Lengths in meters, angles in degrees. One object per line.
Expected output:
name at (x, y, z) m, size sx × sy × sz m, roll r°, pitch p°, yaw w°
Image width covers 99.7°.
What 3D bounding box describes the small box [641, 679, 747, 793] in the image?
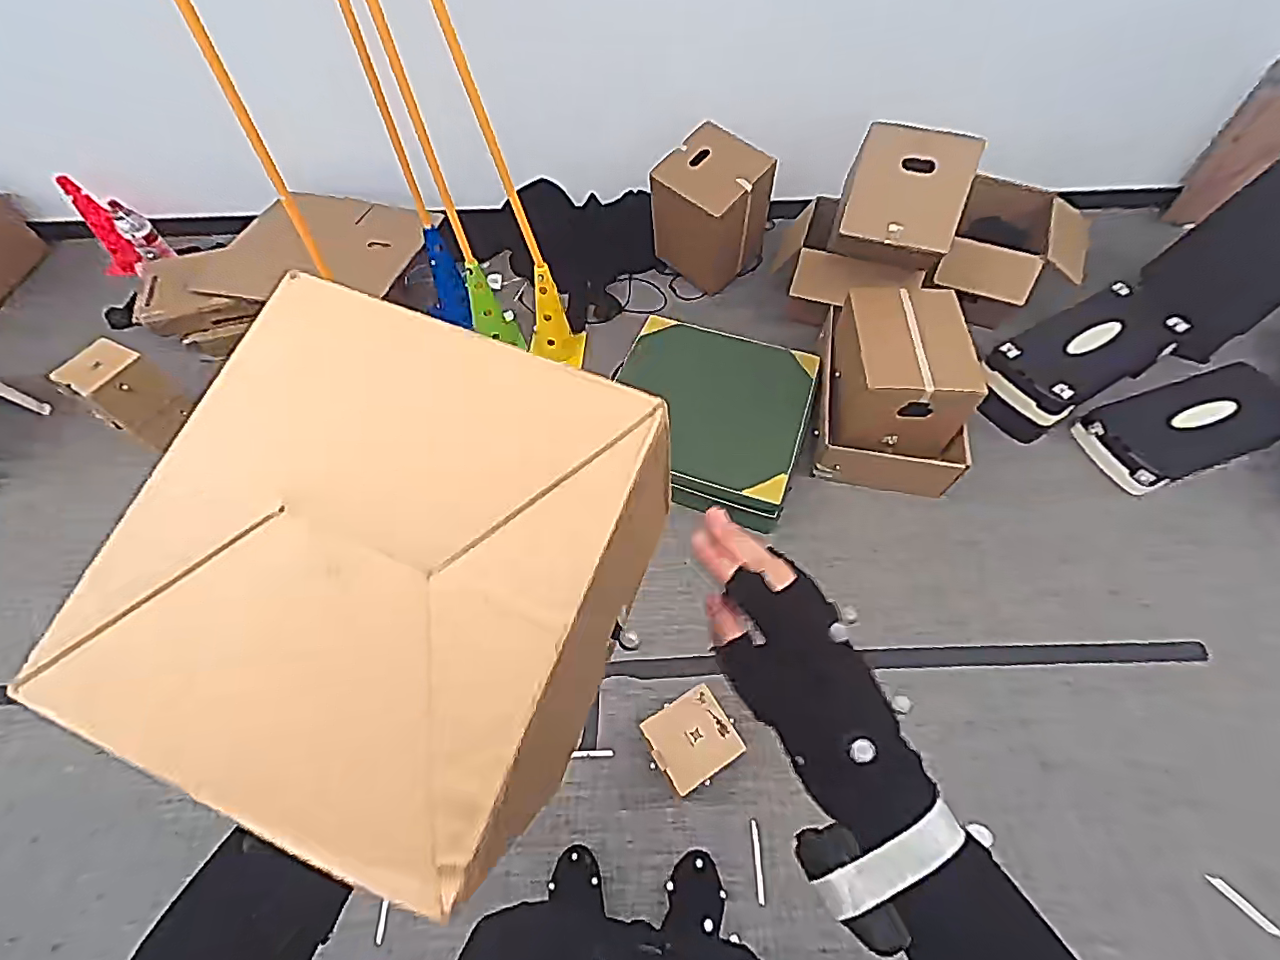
small box at (0.120, 0.592, 1.239) m, size 0.179 × 0.176 × 0.168 m, roll -30°, pitch 62°, yaw -17°
